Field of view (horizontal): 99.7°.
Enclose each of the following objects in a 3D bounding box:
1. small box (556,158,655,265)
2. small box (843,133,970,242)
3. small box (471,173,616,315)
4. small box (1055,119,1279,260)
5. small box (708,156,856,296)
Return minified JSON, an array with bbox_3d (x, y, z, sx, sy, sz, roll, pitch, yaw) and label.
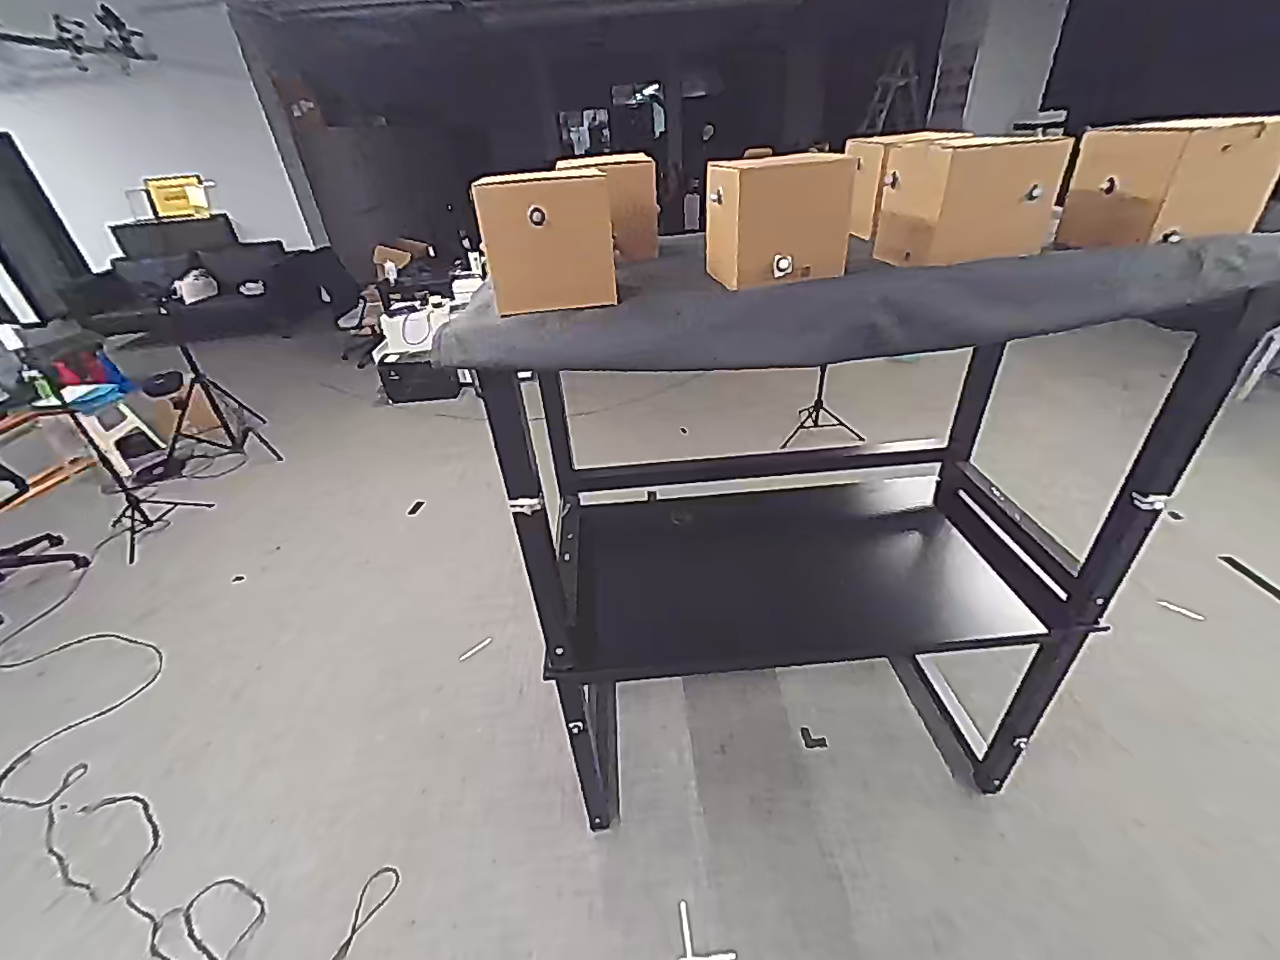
[{"bbox_3d":[-0.065,-0.519,1.051,0.179,0.176,0.168,-6,34,-3],"label":"small box"},{"bbox_3d":[0.509,-0.578,1.073,0.168,0.176,0.179,-6,34,-2],"label":"small box"},{"bbox_3d":[-0.135,-0.350,0.799,0.179,0.176,0.168,-7,33,-6],"label":"small box"},{"bbox_3d":[0.794,-0.440,0.826,0.168,0.176,0.179,-7,32,-3],"label":"small box"},{"bbox_3d":[0.200,-0.385,0.817,0.168,0.176,0.179,-8,32,-4],"label":"small box"}]
